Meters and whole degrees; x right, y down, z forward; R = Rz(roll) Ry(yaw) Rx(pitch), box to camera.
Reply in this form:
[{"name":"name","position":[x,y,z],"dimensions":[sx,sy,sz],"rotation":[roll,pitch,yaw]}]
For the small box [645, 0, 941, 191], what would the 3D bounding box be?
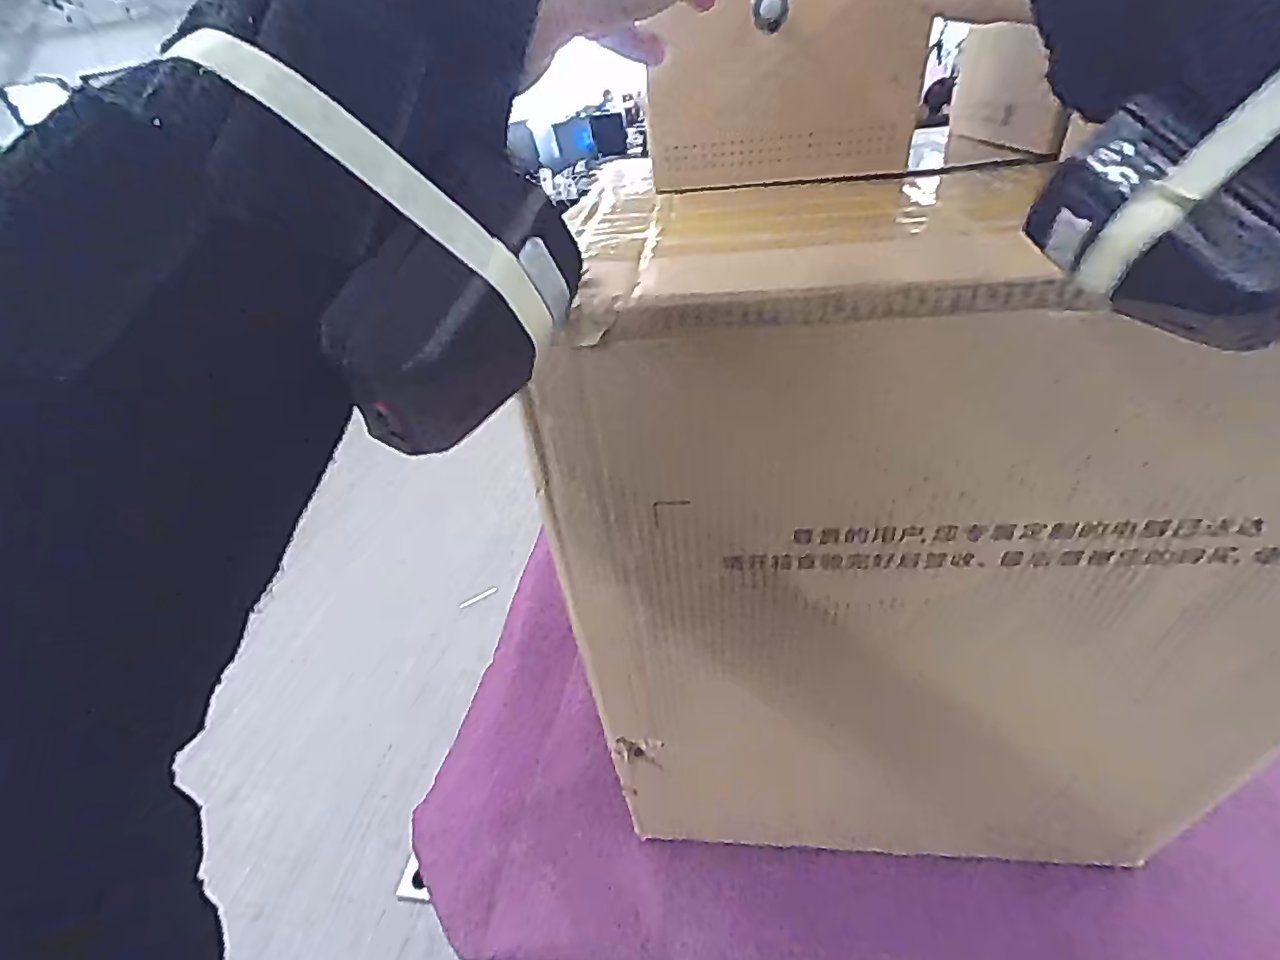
[{"name":"small box","position":[0.103,-0.319,0.385],"dimensions":[0.179,0.176,0.168],"rotation":[0,38,11]}]
